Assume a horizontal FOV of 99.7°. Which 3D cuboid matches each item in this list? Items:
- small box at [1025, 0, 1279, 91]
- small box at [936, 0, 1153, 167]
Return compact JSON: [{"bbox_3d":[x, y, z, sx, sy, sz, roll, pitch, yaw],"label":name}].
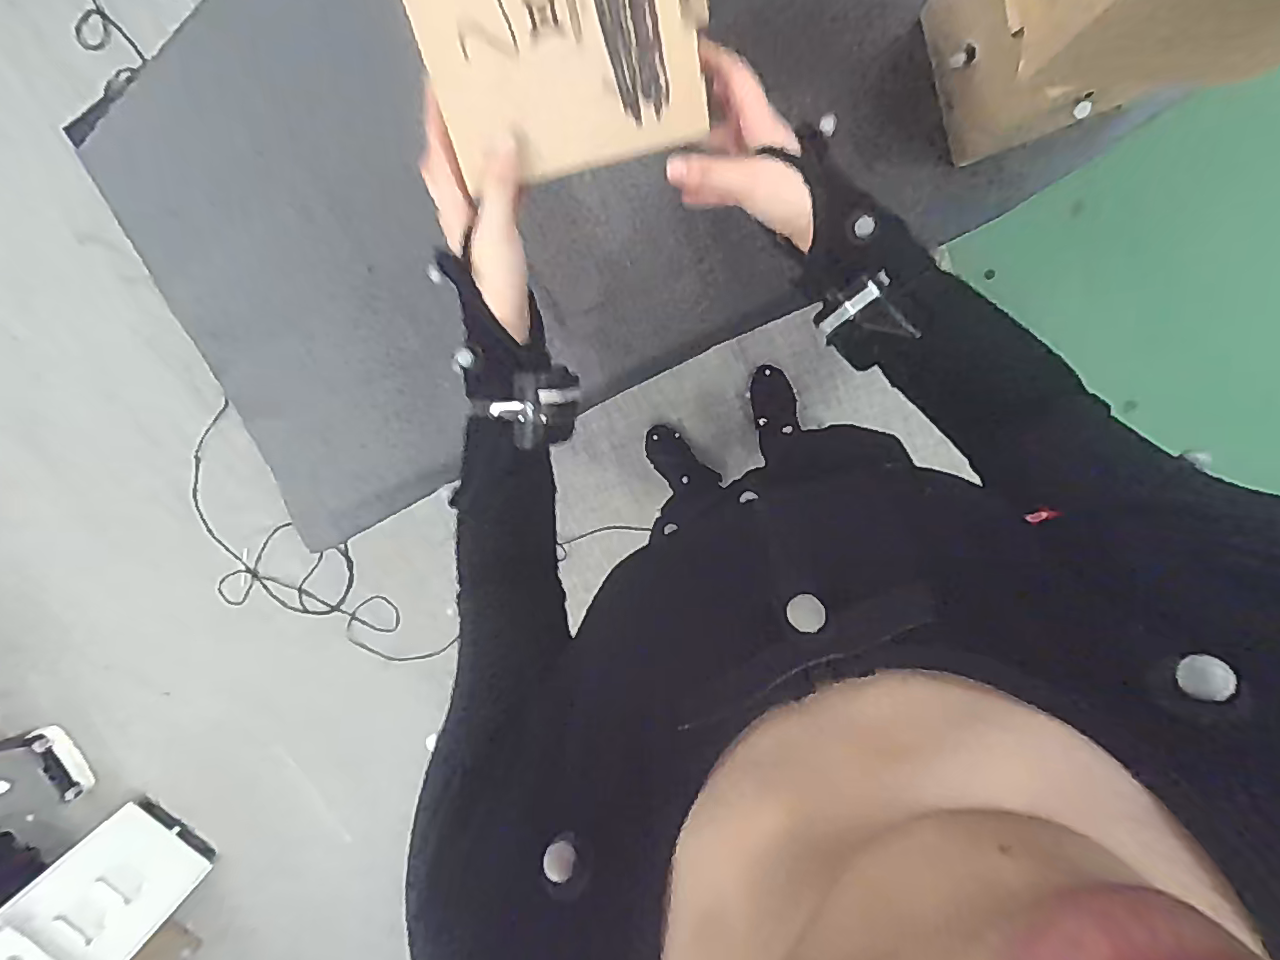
[{"bbox_3d":[0.385,-0.374,0.338,0.179,0.176,0.168,3,103,7],"label":"small box"},{"bbox_3d":[0.397,-0.424,0.495,0.179,0.176,0.168,-18,100,13],"label":"small box"}]
